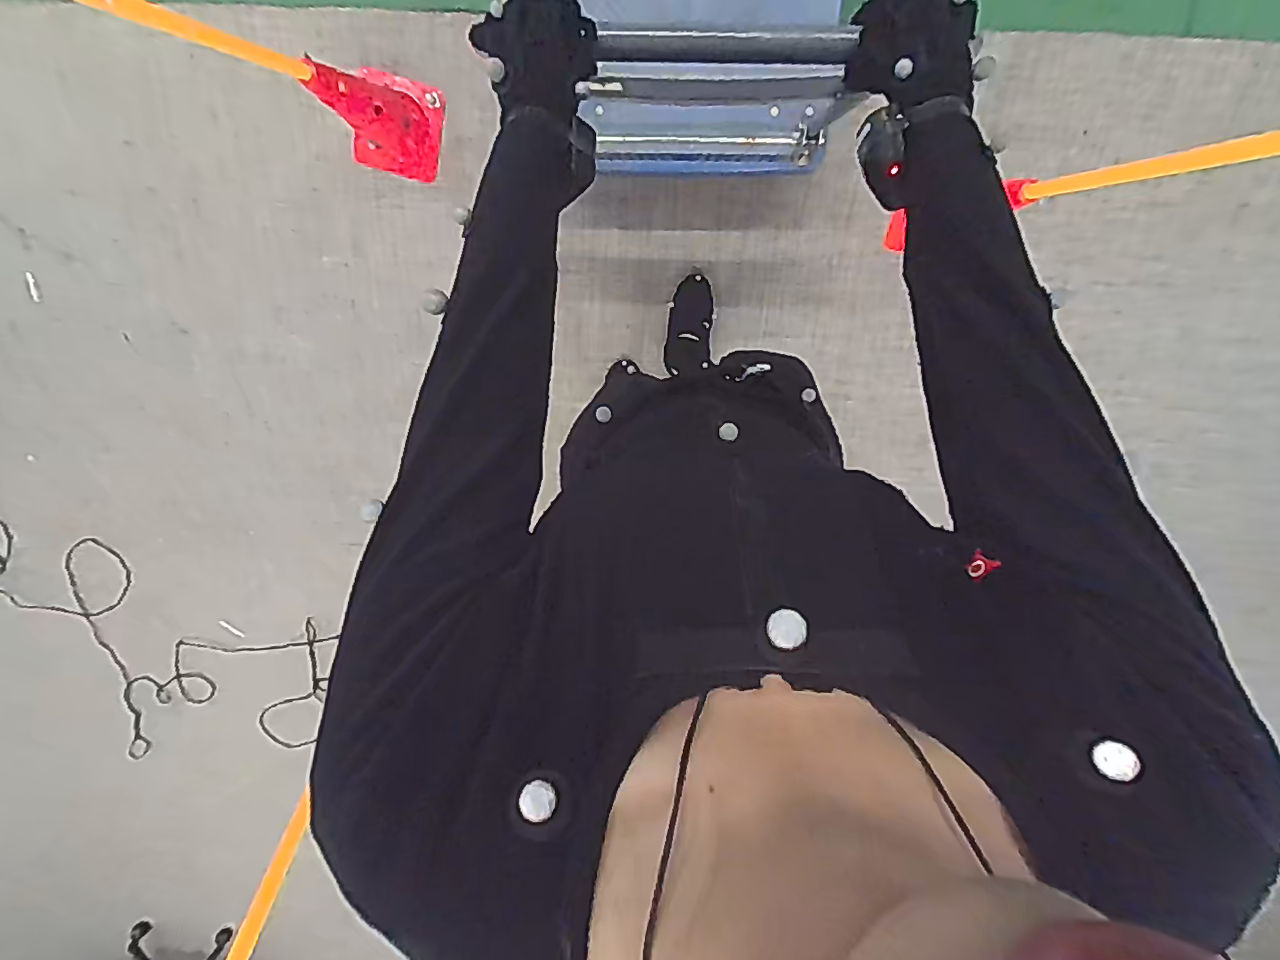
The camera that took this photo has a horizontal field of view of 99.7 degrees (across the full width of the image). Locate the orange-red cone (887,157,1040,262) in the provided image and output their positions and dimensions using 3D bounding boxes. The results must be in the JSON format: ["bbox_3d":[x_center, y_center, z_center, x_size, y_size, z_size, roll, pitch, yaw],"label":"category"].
[{"bbox_3d":[0.701,-0.576,1.122,0.198,0.360,0.199,14,111,-2],"label":"orange-red cone"}]
